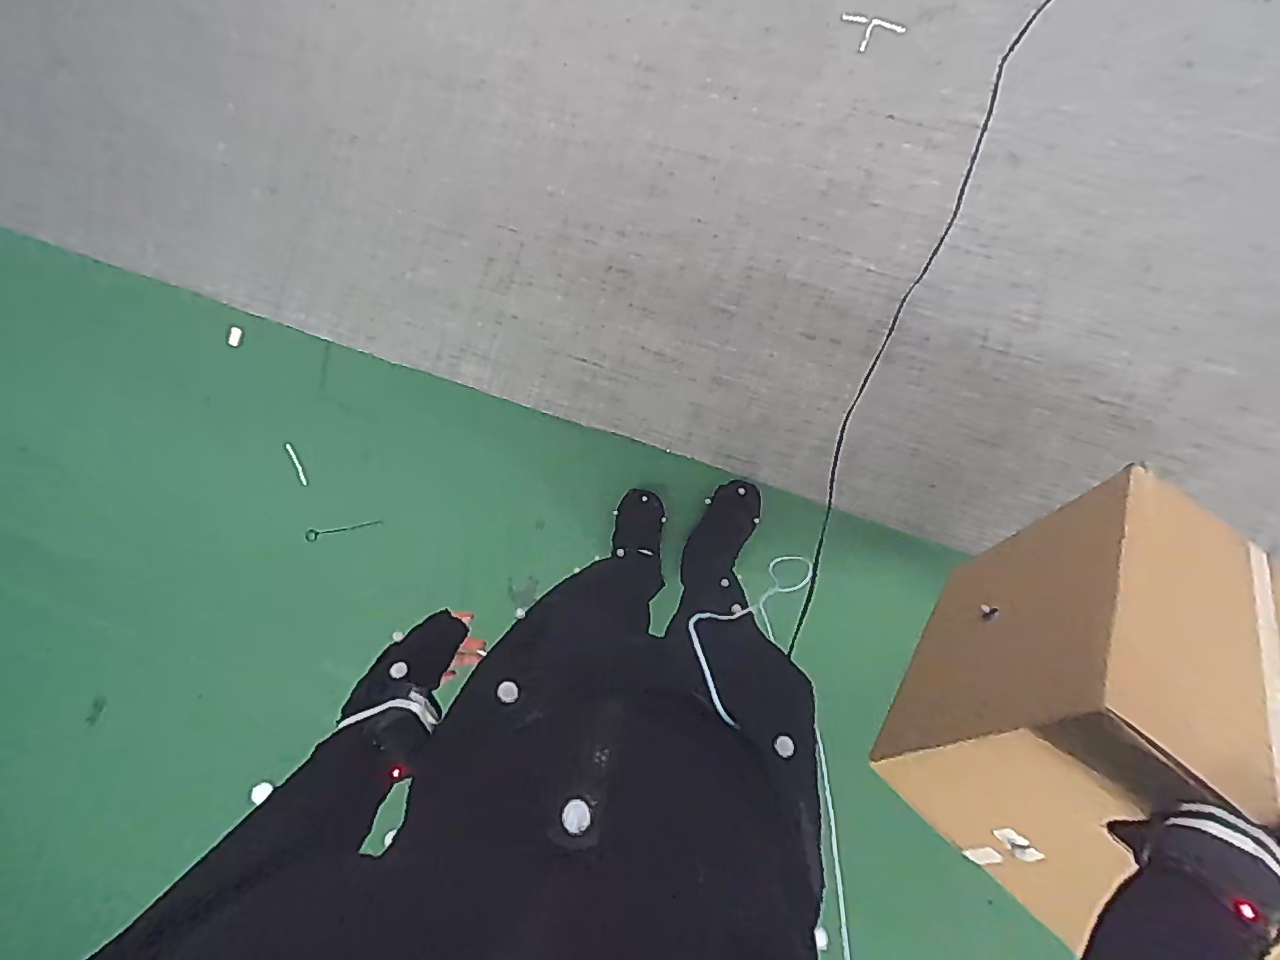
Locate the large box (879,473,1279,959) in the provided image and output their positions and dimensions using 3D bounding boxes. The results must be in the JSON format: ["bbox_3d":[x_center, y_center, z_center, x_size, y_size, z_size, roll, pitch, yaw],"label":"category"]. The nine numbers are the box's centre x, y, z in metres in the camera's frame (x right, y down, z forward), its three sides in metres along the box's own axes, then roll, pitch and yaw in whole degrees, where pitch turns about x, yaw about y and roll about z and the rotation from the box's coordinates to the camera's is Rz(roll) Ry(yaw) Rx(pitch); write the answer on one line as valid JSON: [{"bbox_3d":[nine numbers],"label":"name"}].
[{"bbox_3d":[0.563,0.275,0.655,0.320,0.408,0.320,41,142,10],"label":"large box"}]
